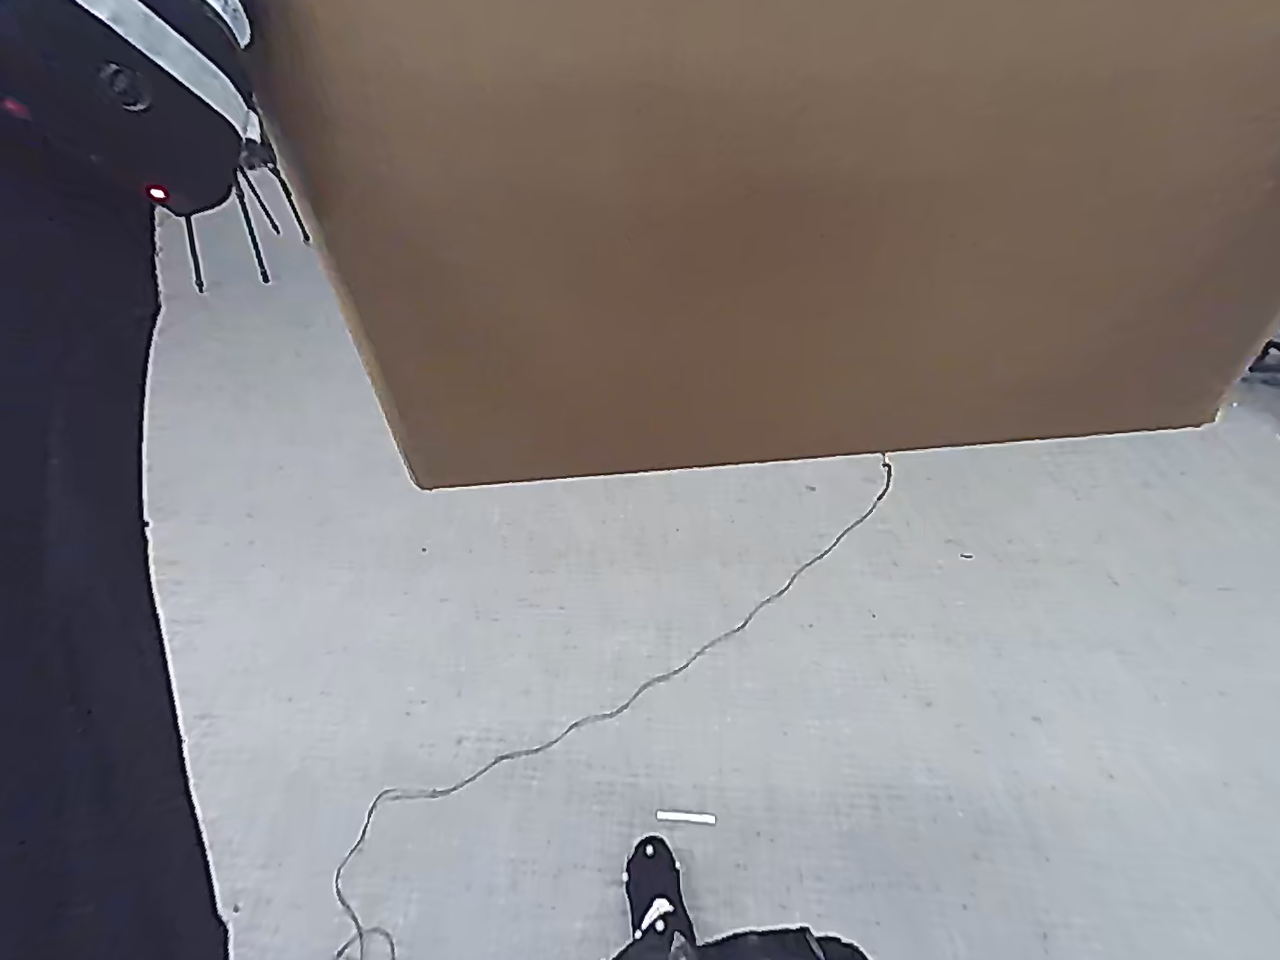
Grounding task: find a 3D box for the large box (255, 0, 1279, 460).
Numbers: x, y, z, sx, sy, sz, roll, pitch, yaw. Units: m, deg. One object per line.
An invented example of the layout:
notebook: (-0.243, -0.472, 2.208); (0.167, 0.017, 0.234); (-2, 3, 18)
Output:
large box: (0.066, -0.231, 0.305); (0.408, 0.320, 0.320); (-4, 39, -1)
